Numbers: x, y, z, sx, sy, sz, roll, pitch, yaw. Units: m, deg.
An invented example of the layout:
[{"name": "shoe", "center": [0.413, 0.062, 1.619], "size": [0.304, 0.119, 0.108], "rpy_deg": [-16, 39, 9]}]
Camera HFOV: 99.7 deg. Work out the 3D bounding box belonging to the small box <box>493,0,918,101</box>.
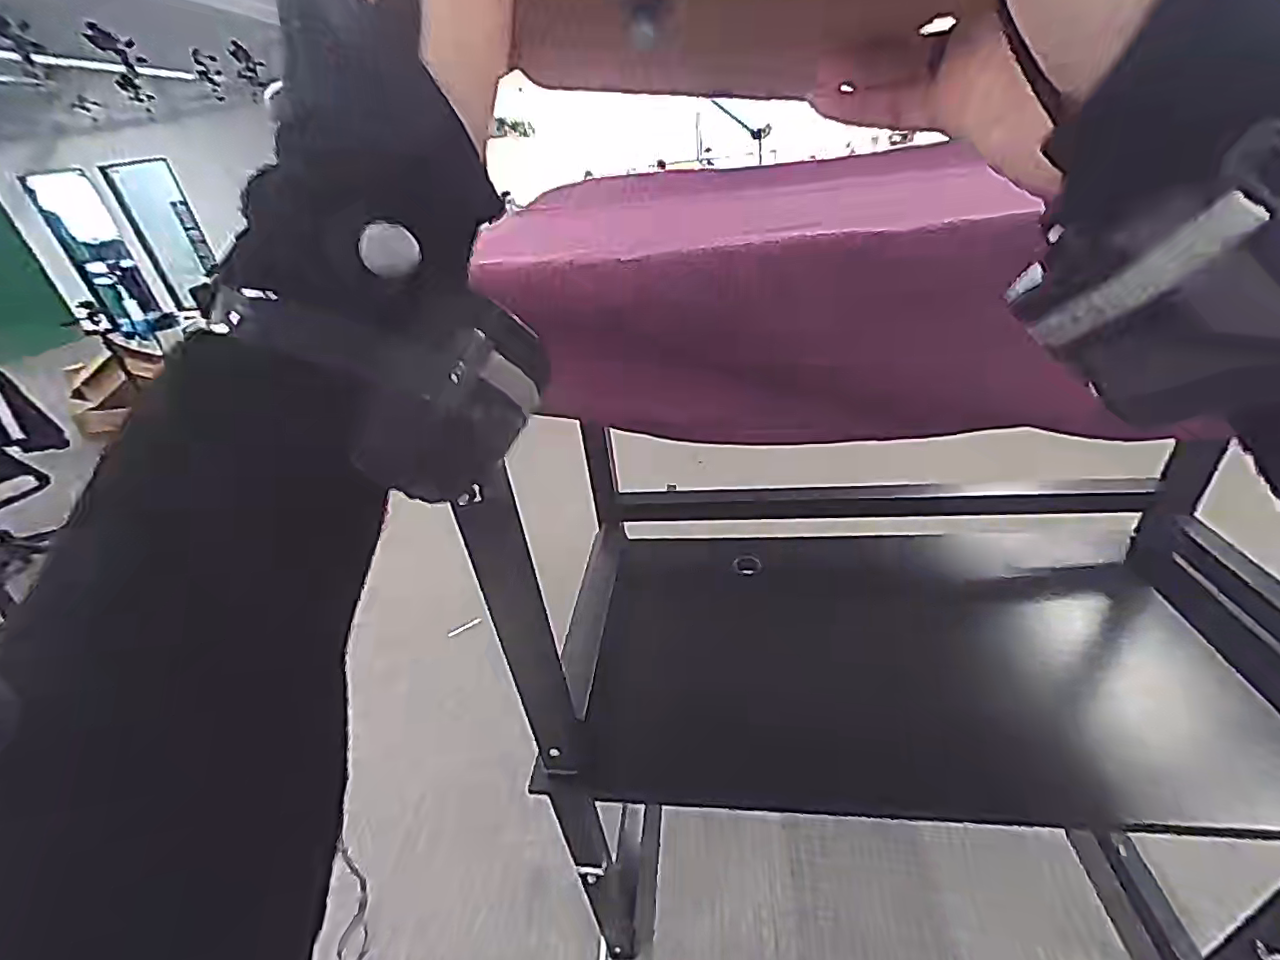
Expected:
[{"name": "small box", "center": [0.019, -0.265, 0.196], "size": [0.168, 0.179, 0.176], "rpy_deg": [2, 24, 0]}]
